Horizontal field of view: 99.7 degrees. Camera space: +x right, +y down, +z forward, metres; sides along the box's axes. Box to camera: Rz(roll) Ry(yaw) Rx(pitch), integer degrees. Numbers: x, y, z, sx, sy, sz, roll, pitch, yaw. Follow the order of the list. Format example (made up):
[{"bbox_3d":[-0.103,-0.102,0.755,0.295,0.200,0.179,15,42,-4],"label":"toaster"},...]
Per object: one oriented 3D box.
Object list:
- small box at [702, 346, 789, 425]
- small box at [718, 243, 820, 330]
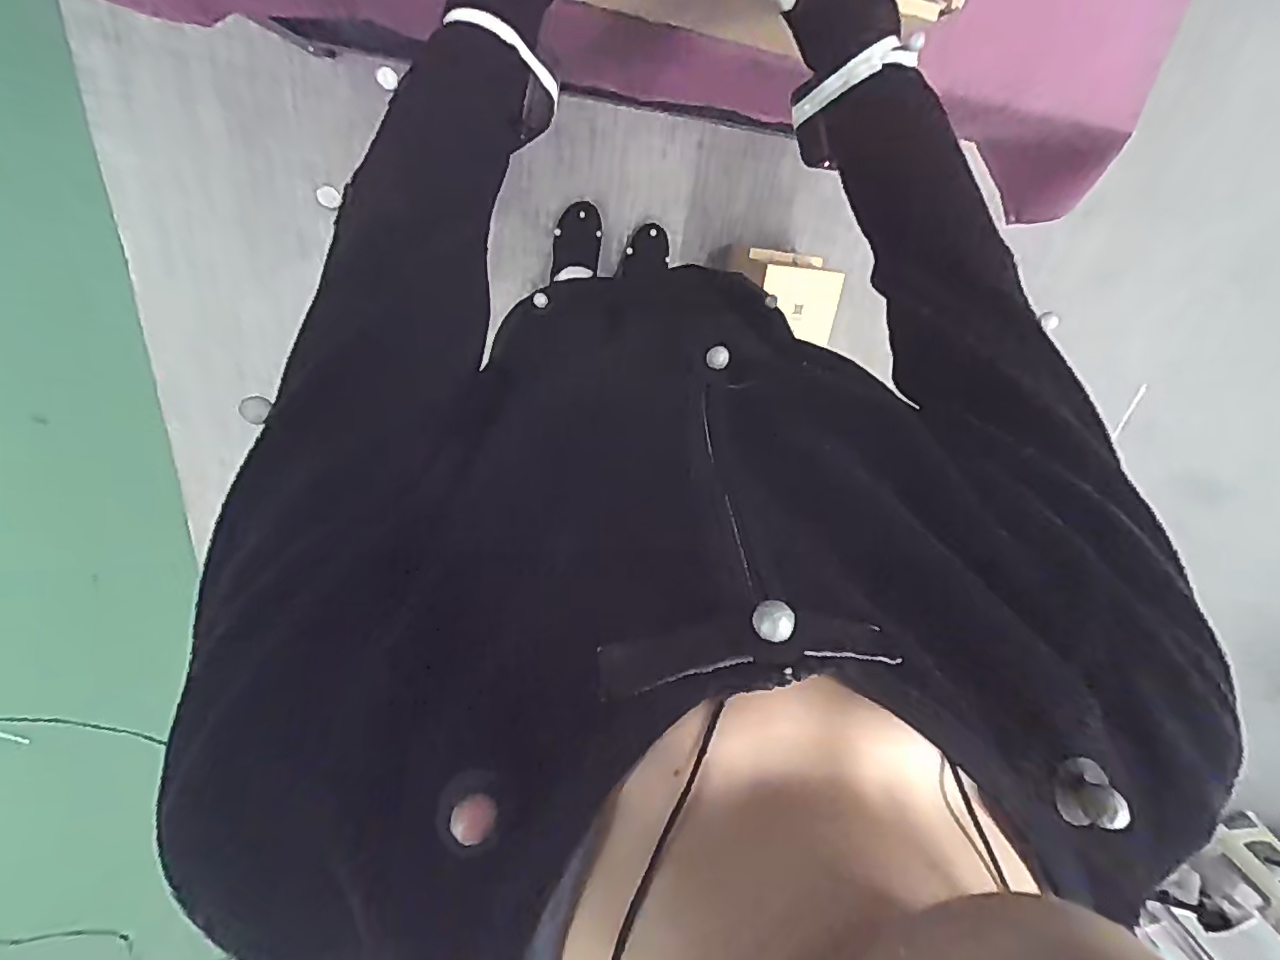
[{"bbox_3d":[0.269,-0.252,1.428,0.179,0.176,0.168,0,116,-8],"label":"small box"},{"bbox_3d":[0.305,-0.475,1.316,0.179,0.176,0.168,4,117,-8],"label":"small box"}]
